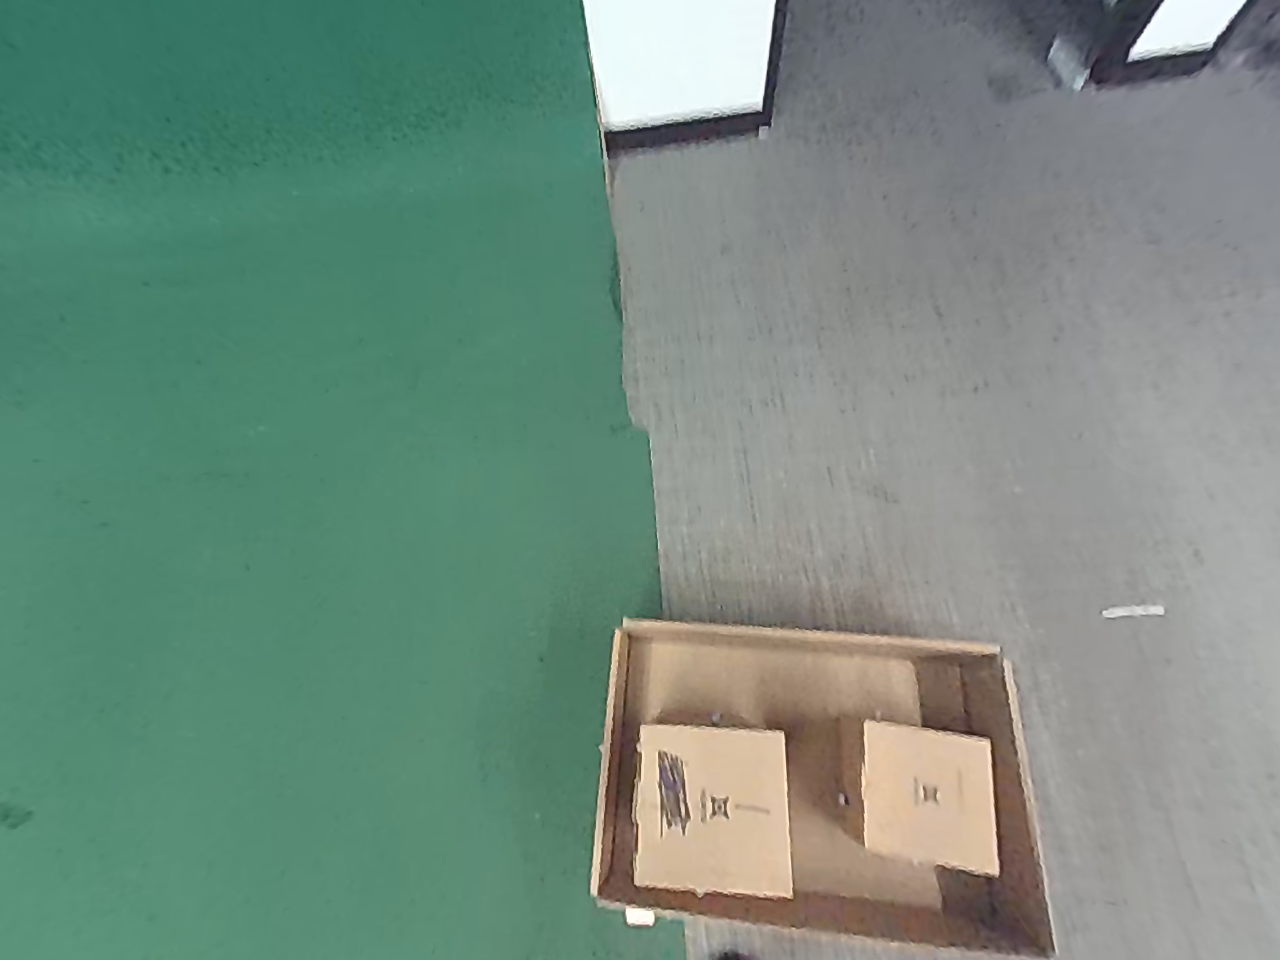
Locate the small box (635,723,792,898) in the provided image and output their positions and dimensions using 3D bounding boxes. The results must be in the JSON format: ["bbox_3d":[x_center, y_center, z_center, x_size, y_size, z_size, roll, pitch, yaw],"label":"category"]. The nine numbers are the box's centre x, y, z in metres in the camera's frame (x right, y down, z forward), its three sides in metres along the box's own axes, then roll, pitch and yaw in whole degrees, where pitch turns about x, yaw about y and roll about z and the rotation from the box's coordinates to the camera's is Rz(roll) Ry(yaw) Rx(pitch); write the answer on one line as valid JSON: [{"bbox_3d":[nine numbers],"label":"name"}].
[{"bbox_3d":[0.091,0.411,0.701,0.179,0.176,0.168,2,67,4],"label":"small box"}]
